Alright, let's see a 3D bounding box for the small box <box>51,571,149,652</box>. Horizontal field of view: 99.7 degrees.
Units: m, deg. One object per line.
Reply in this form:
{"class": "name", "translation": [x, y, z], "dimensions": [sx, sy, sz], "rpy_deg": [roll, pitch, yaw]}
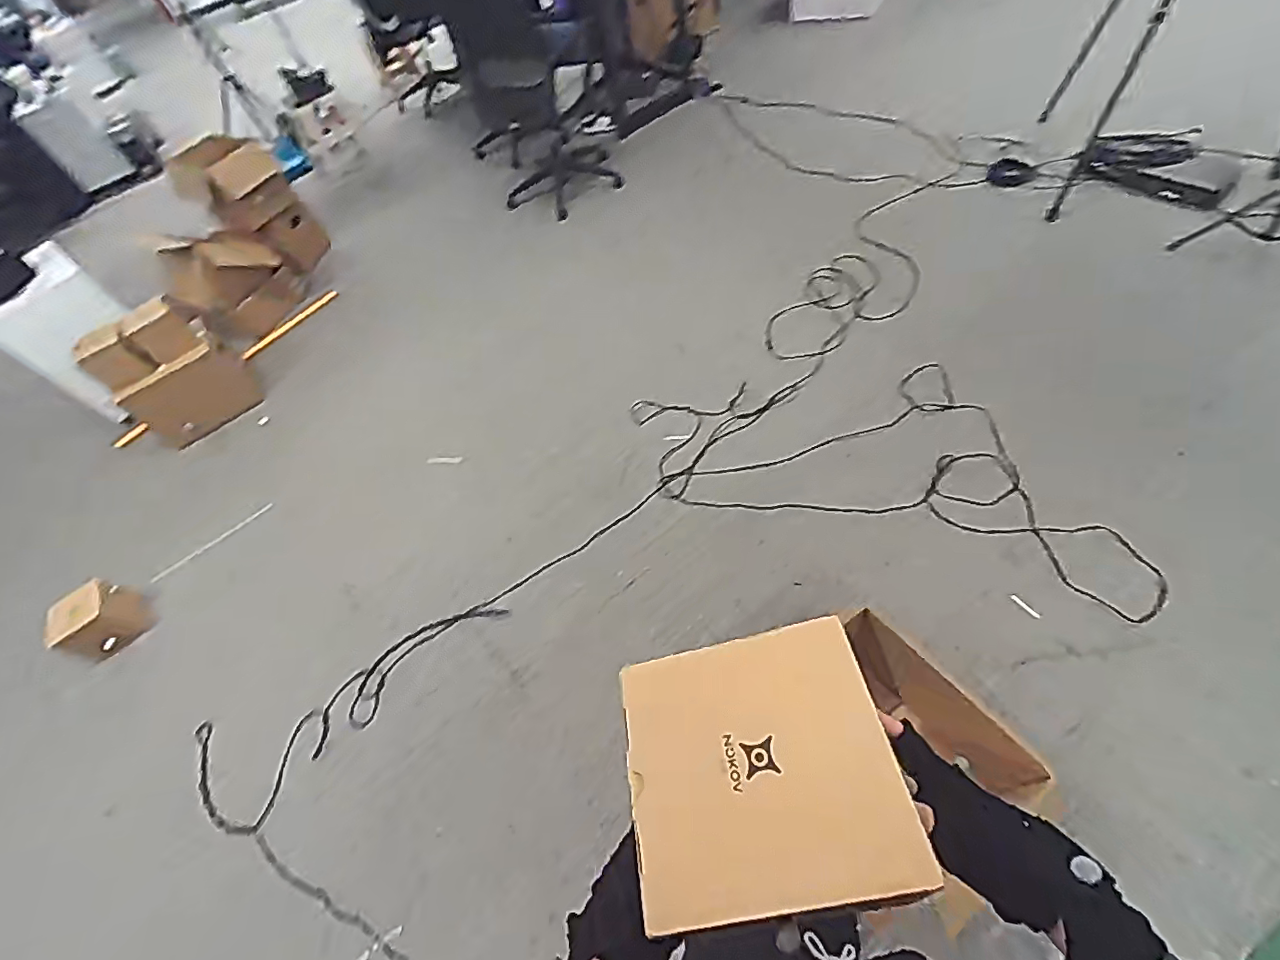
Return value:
{"class": "small box", "translation": [-1.809, 0.446, 1.817], "dimensions": [0.168, 0.176, 0.179], "rpy_deg": [-37, 56, -12]}

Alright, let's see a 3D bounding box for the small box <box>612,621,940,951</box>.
{"class": "small box", "translation": [0.094, 0.234, 0.412], "dimensions": [0.179, 0.176, 0.168], "rpy_deg": [-18, 48, 9]}
